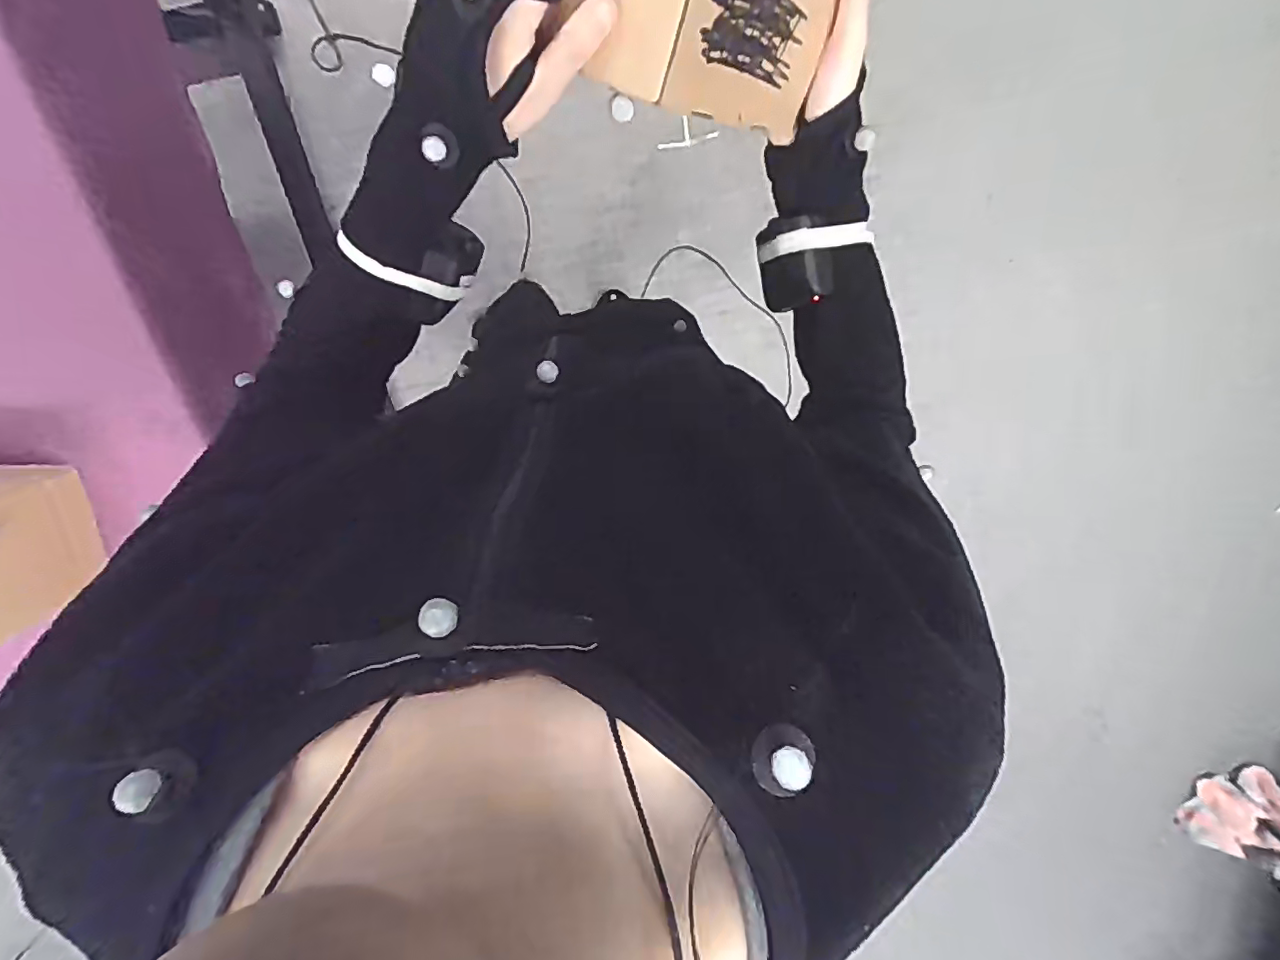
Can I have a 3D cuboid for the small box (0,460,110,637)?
[{"bbox_3d":[-0.838,0.082,0.682,0.168,0.176,0.179,0,109,-2],"label":"small box"}]
